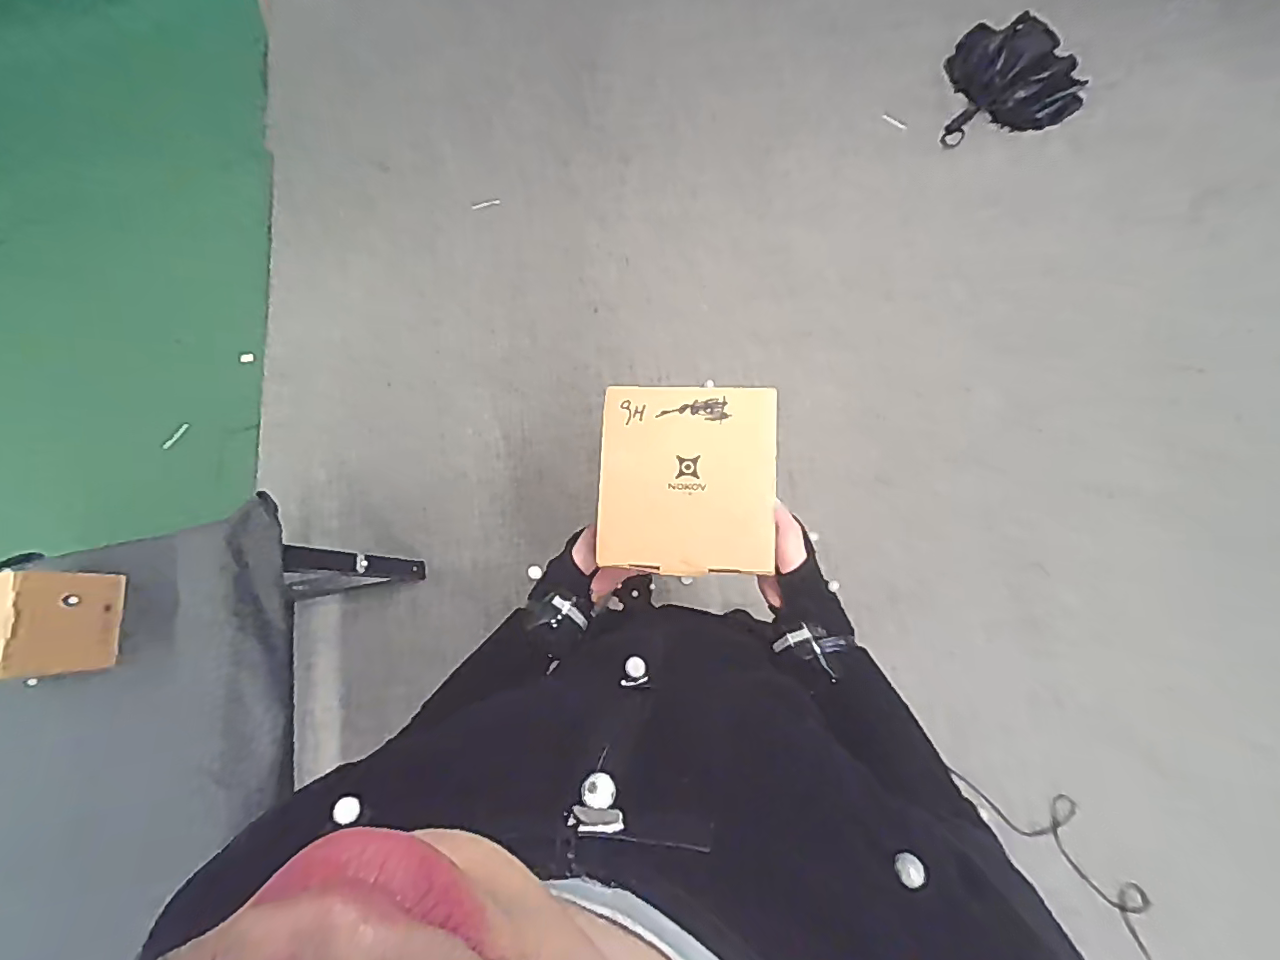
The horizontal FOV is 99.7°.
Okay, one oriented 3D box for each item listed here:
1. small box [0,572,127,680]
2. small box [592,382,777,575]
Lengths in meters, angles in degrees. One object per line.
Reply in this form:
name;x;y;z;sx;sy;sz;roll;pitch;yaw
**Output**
small box;-1.040;0.252;0.923;0.179;0.176;0.168;-8;74;9
small box;0.050;0.005;0.575;0.168;0.176;0.179;2;82;6
